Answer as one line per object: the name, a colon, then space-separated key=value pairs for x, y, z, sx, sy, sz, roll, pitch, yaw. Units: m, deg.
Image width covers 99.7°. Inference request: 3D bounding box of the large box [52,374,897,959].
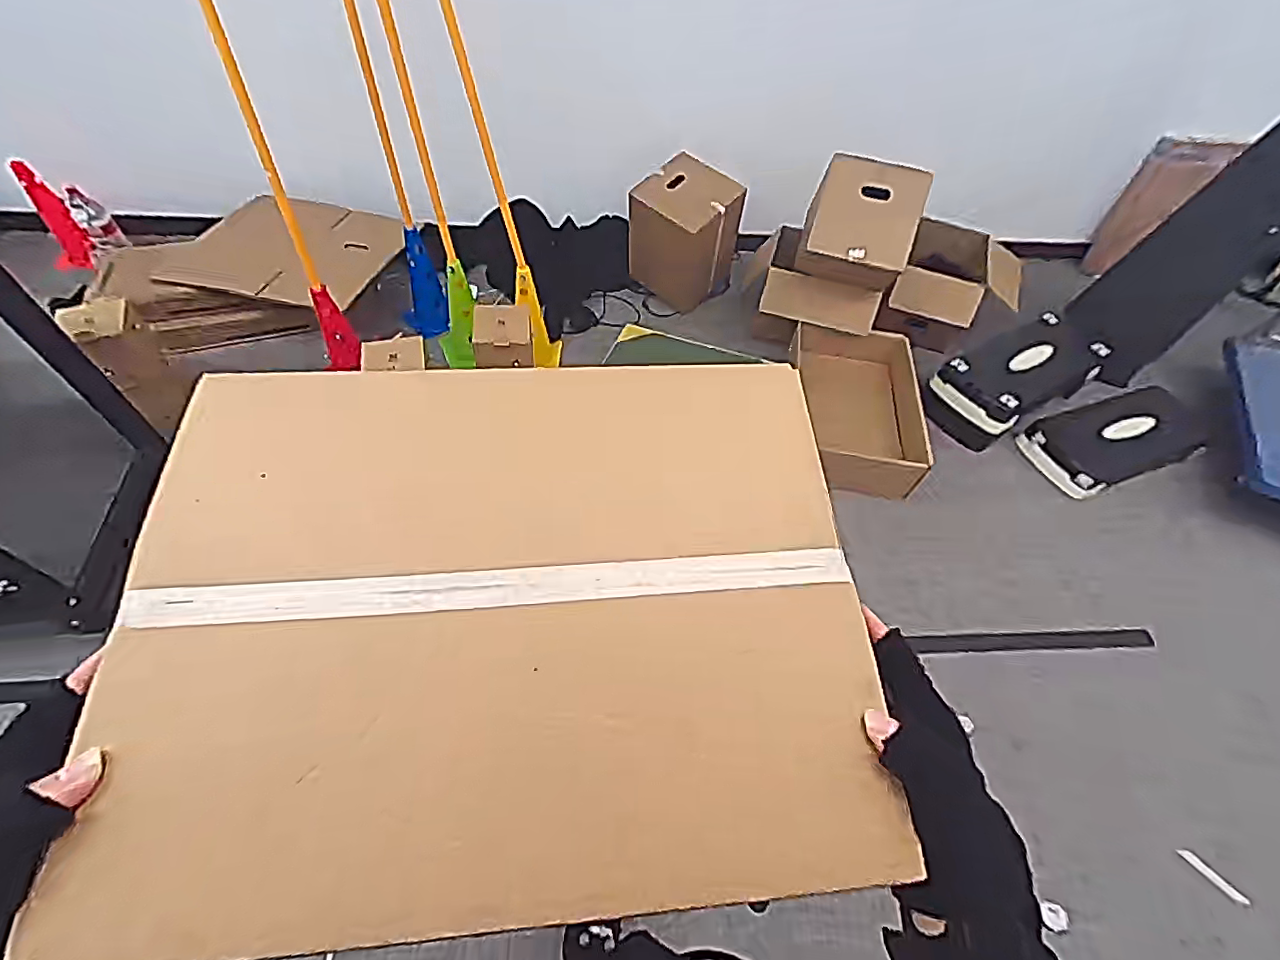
large box: x=-0.085 y=0.134 z=0.453 sx=0.408 sy=0.320 sz=0.320 roll=-3 pitch=63 yaw=-5
